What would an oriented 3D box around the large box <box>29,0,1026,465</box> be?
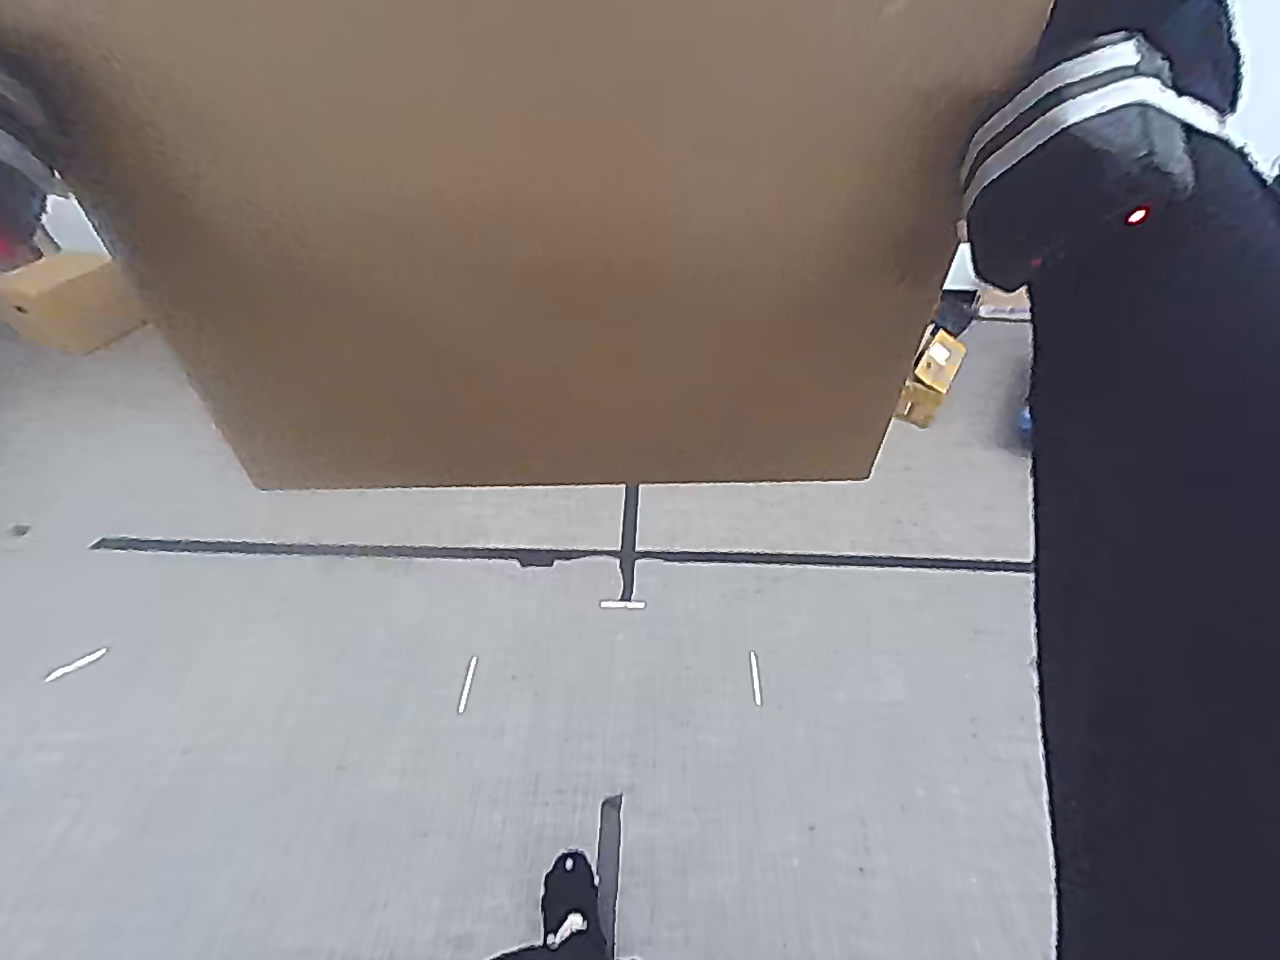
[{"bbox_3d":[-0.049,-0.221,0.379,0.408,0.320,0.320,0,42,-3],"label":"large box"}]
